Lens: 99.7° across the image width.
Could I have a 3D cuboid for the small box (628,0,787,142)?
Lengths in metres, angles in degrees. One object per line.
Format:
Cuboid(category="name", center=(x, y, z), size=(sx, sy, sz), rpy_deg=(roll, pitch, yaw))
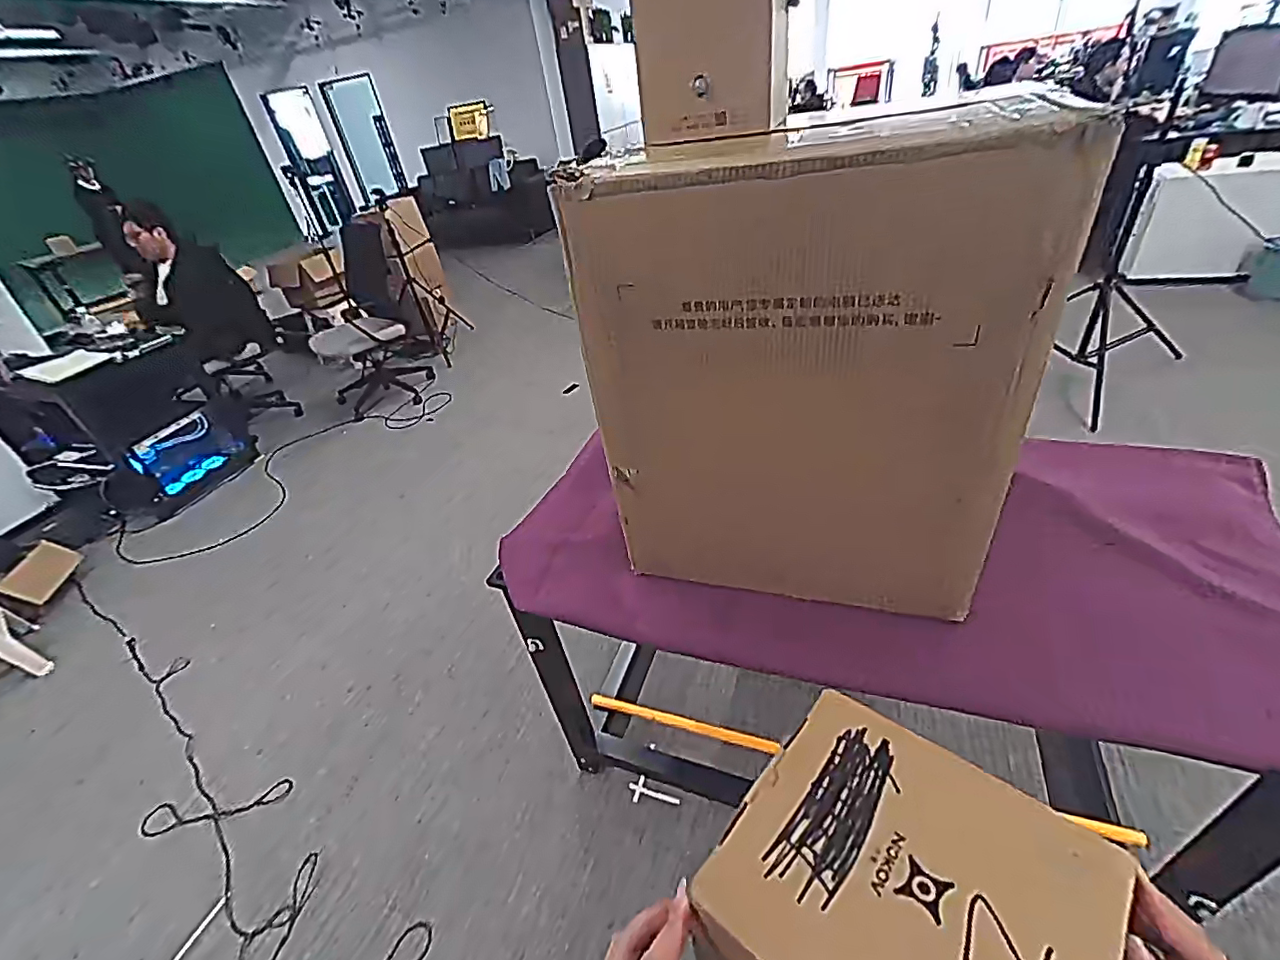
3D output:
Cuboid(category="small box", center=(0.093, -0.546, 0.695), size=(0.168, 0.176, 0.179), rpy_deg=(5, 38, 20))
